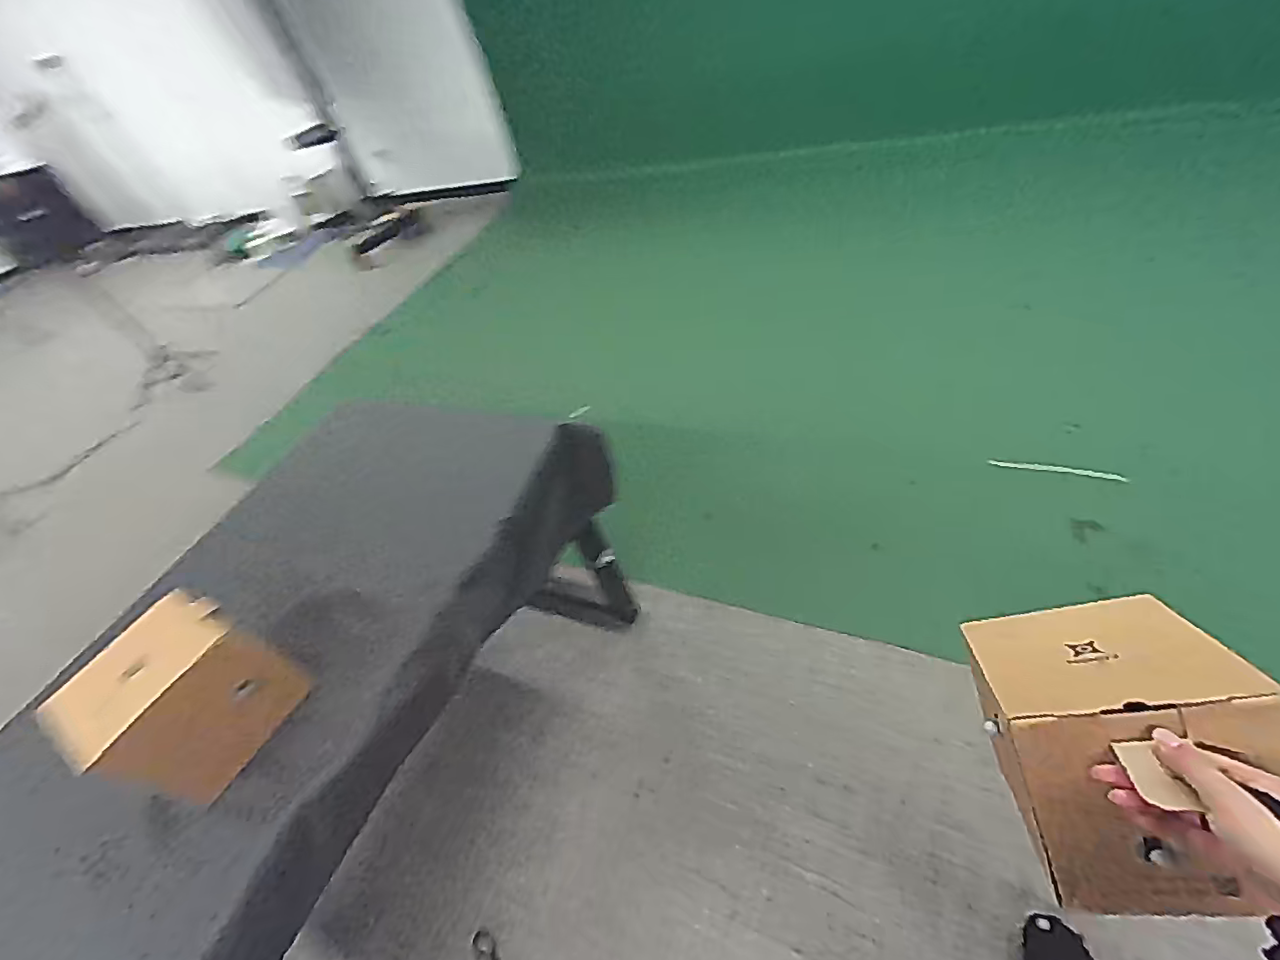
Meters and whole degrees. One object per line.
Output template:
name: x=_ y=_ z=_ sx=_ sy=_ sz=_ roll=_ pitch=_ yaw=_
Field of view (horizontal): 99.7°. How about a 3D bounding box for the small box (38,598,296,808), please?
small box: x=-0.598 y=0.291 z=0.711 sx=0.168 sy=0.176 sz=0.179 roll=14 pitch=55 yaw=30
